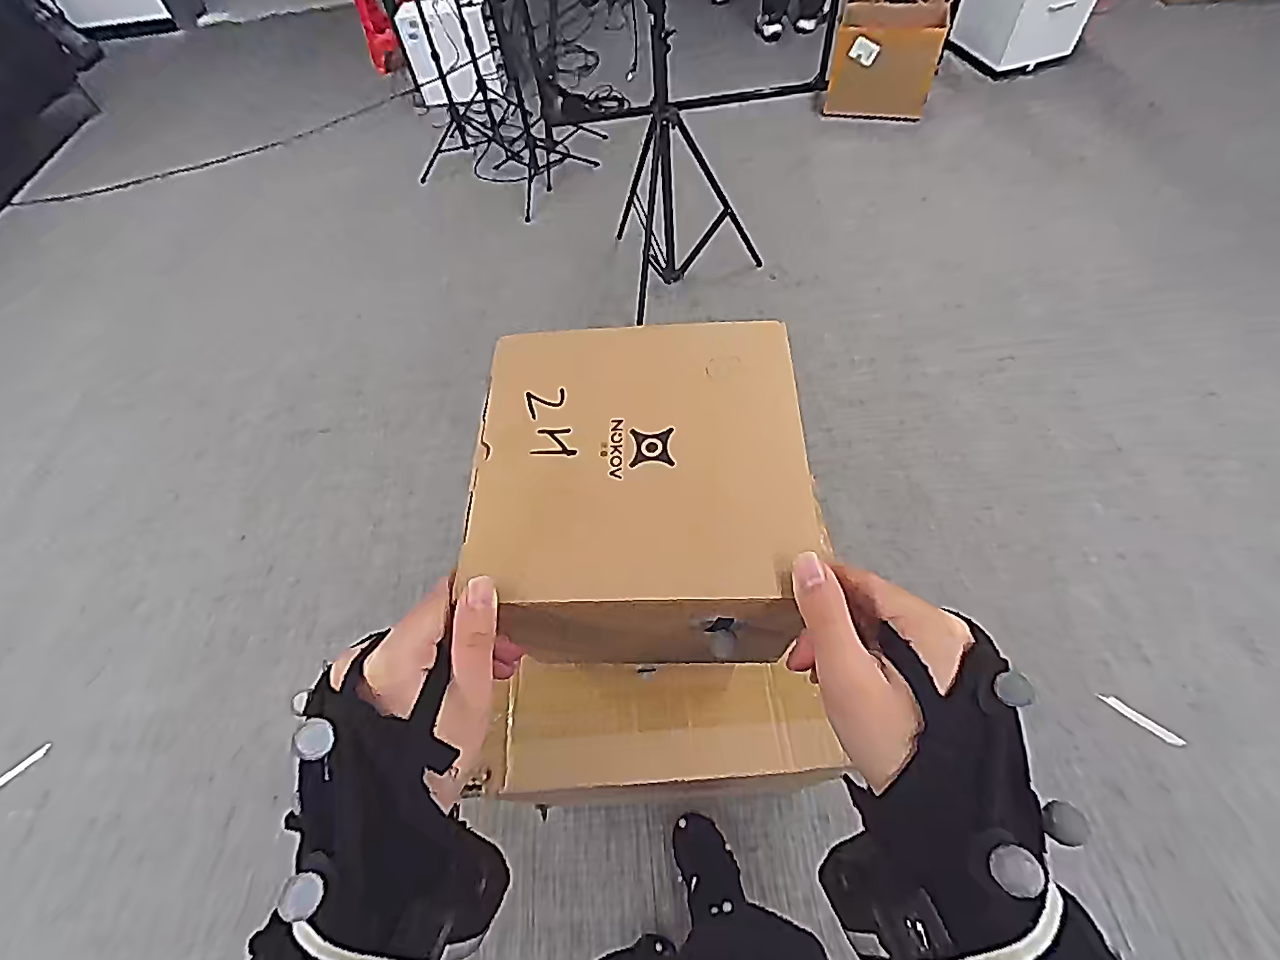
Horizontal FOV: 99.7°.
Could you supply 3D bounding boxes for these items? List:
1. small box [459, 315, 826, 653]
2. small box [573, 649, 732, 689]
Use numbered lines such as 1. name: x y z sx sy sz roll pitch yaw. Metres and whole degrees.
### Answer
1. small box: 0.006 0.015 0.359 0.179 0.176 0.168 -2 62 5
2. small box: 0.020 0.155 0.671 0.179 0.176 0.168 -4 58 3
